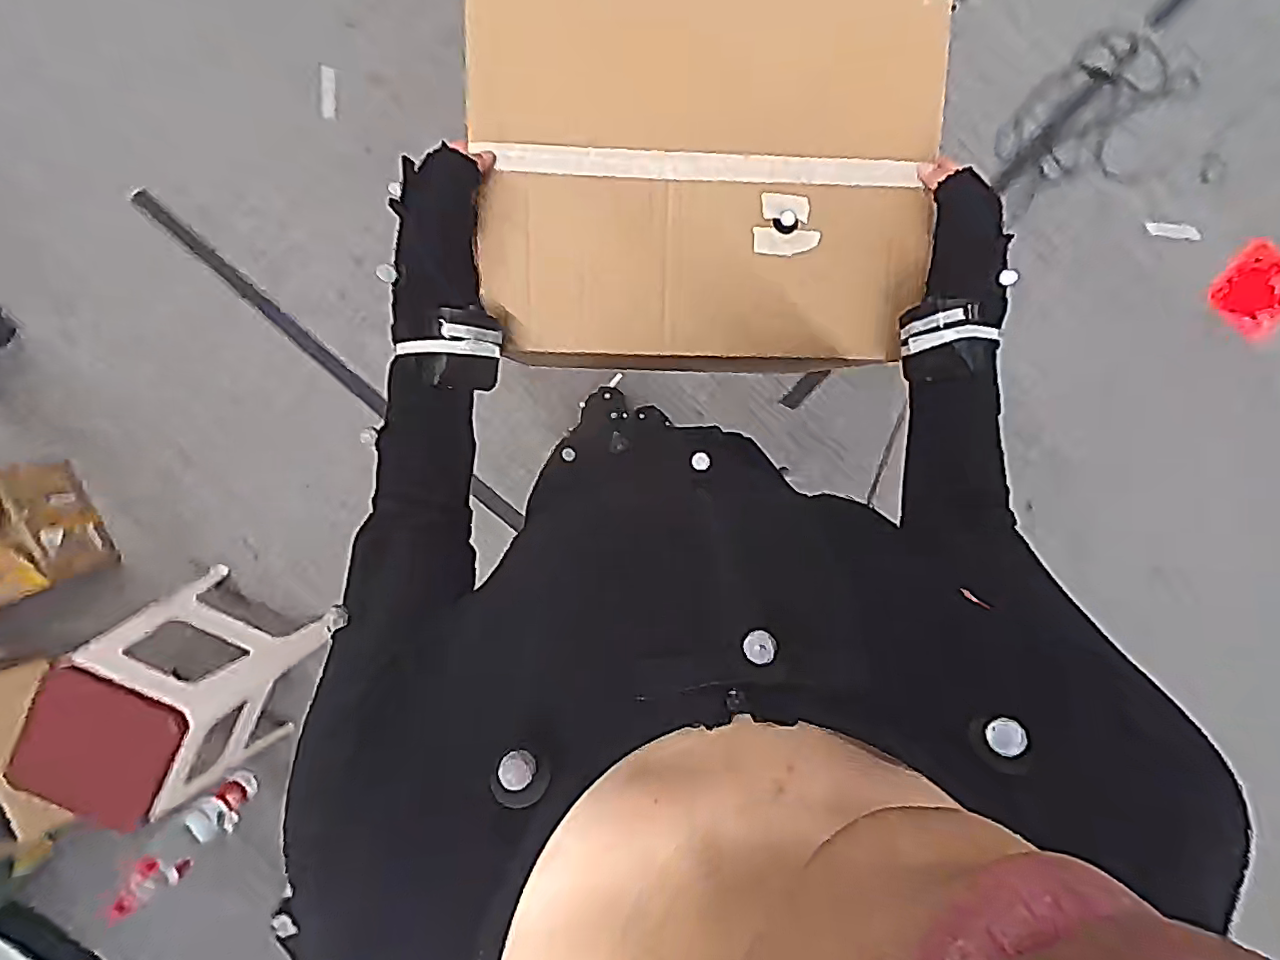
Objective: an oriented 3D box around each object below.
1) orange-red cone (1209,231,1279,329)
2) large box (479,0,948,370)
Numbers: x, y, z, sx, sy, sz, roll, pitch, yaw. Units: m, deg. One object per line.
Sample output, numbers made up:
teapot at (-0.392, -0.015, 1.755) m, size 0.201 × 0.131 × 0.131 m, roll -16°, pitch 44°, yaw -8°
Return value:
orange-red cone at (1.622, -0.502, 1.249) m, size 0.198 × 0.360 × 0.199 m, roll 39°, pitch 94°, yaw -6°
large box at (0.052, -0.293, 0.615) m, size 0.408 × 0.320 × 0.320 m, roll 1°, pitch 99°, yaw -5°
